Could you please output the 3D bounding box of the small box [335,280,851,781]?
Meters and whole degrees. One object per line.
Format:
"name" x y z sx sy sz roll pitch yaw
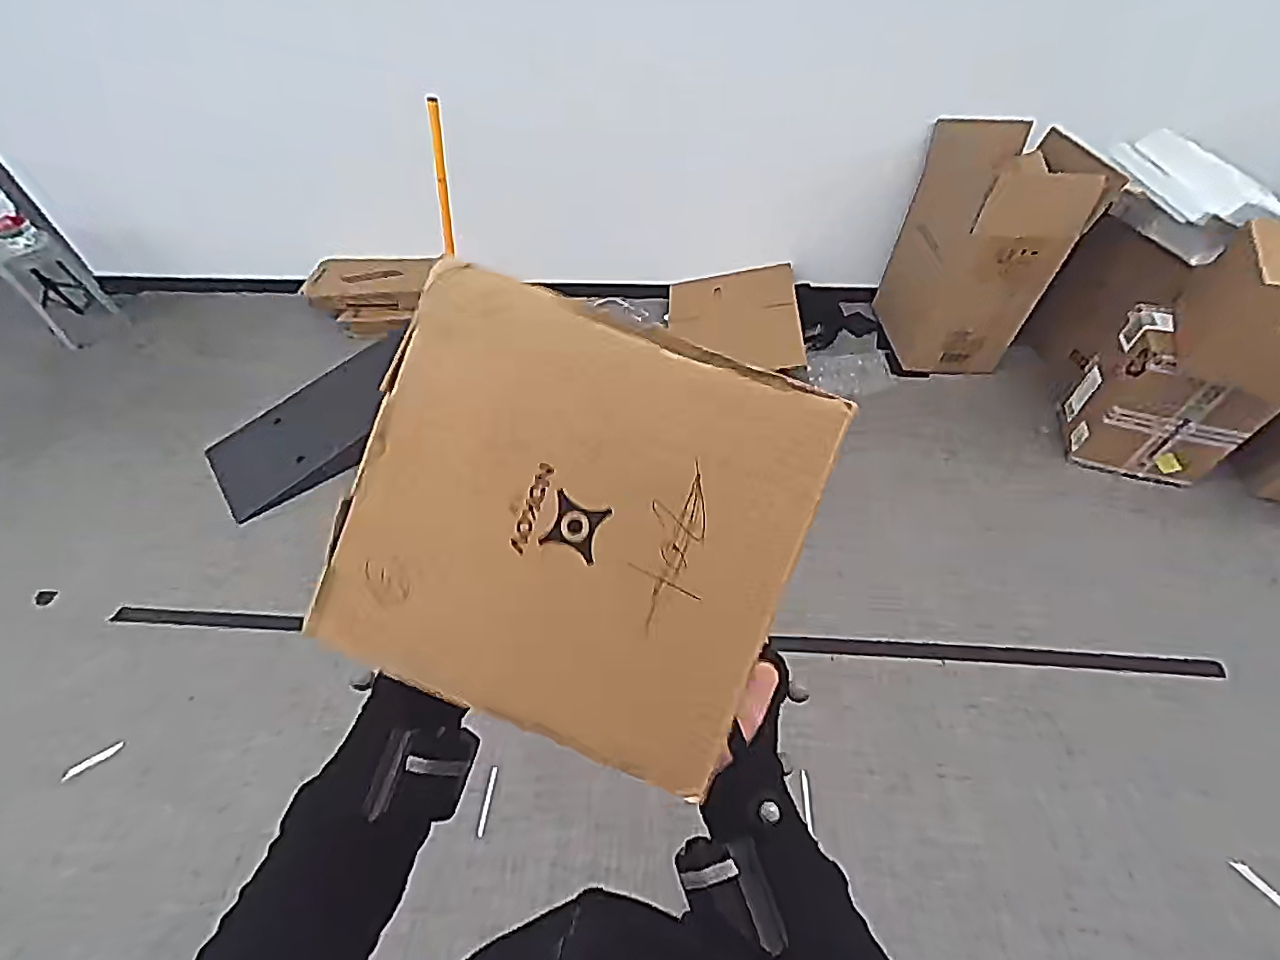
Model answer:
"small box" -0.019 0.019 0.302 0.179 0.176 0.168 19 93 2
